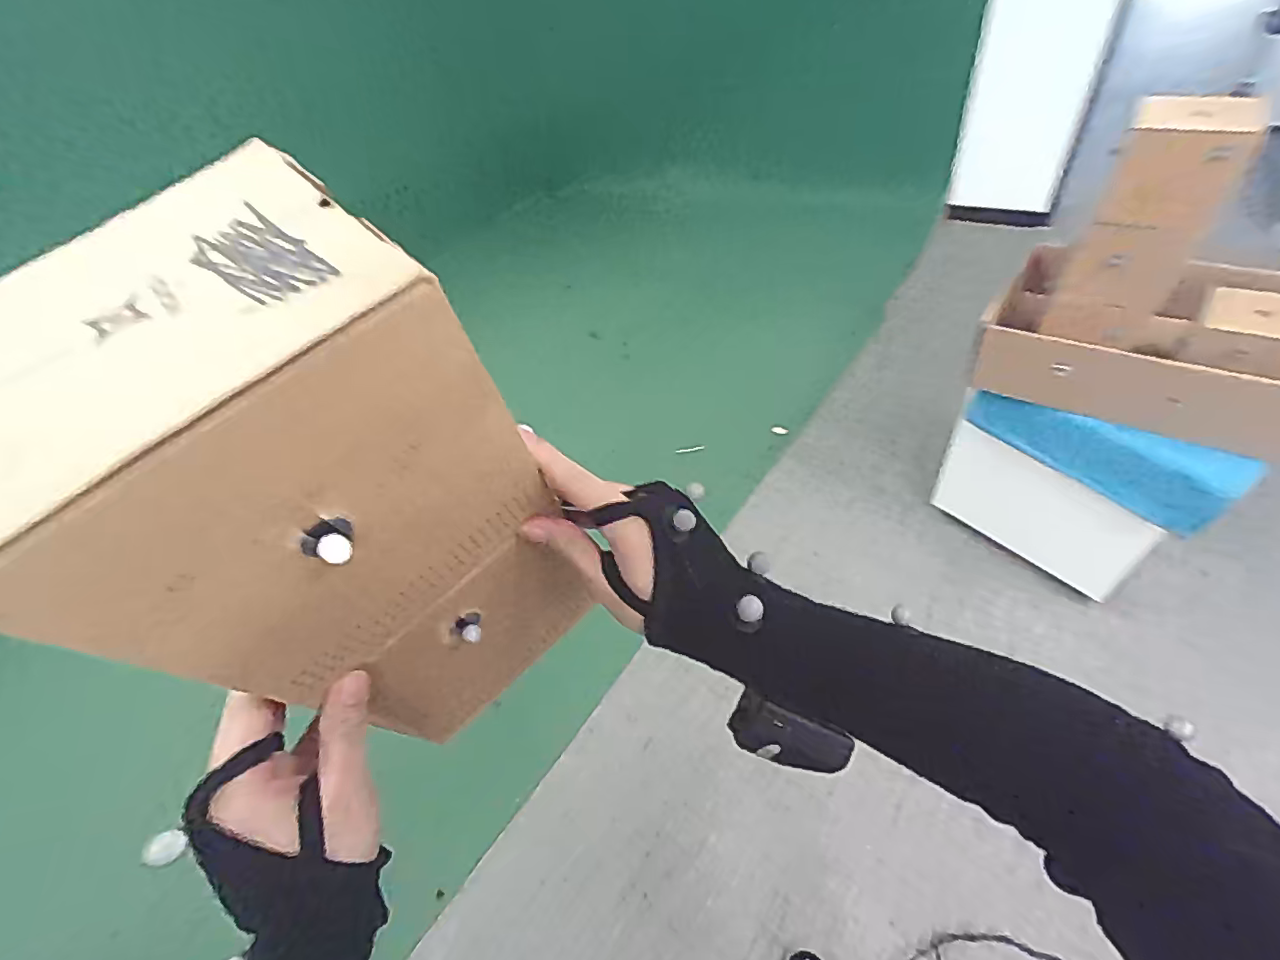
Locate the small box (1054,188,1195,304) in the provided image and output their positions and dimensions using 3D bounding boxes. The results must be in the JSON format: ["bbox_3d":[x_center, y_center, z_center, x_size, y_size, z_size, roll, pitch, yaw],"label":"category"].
[{"bbox_3d":[1.008,-0.492,1.134,0.179,0.176,0.168,21,58,28],"label":"small box"}]

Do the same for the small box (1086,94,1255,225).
[{"bbox_3d":[0.981,-0.600,1.014,0.179,0.176,0.168,22,57,26],"label":"small box"}]
